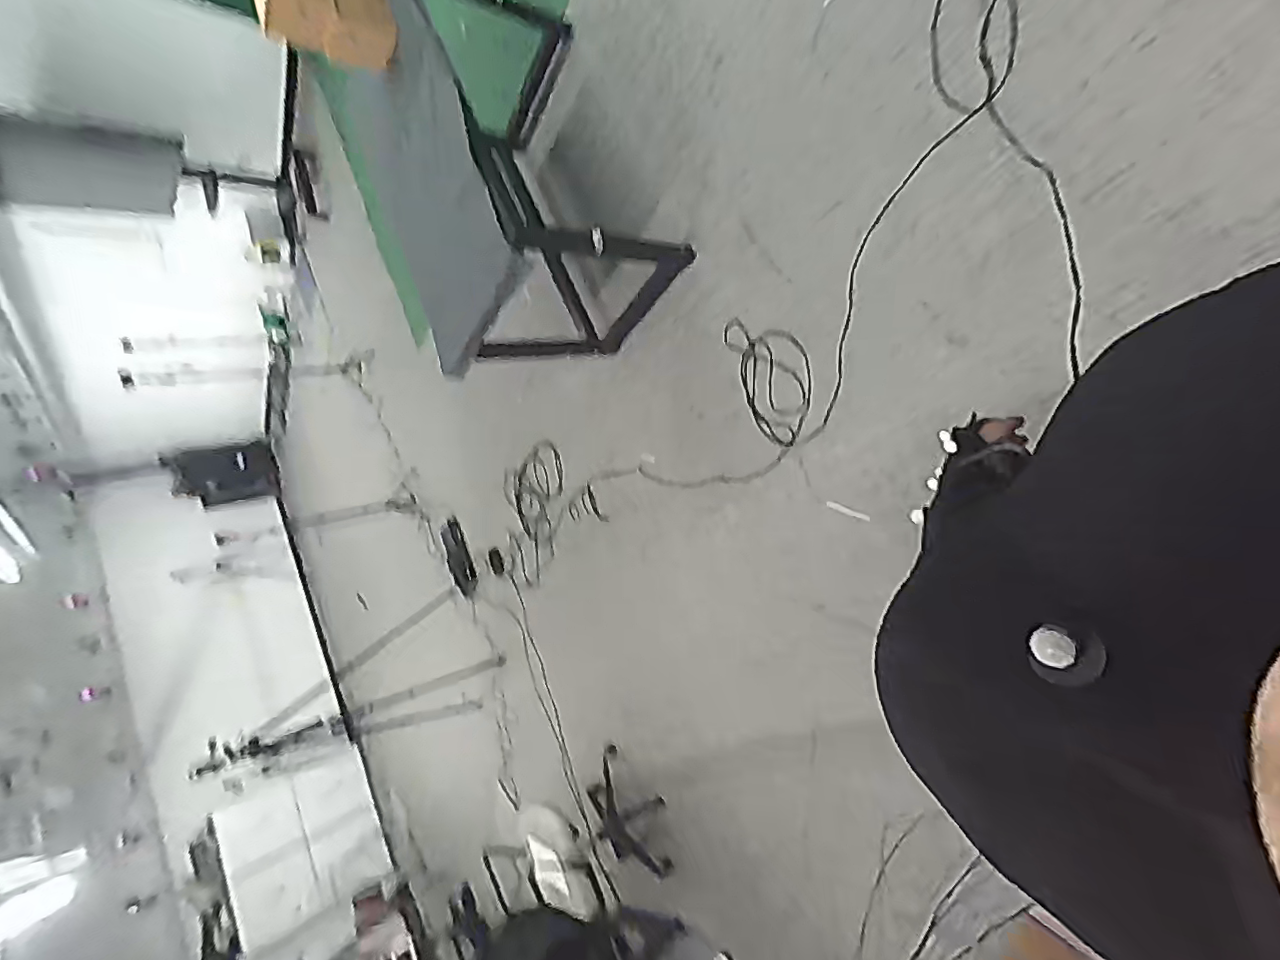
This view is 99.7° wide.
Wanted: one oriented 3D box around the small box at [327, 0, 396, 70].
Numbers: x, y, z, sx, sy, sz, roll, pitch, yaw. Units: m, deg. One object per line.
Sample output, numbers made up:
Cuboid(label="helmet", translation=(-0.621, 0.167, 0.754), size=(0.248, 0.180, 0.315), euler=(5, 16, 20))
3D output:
Cuboid(label="small box", translation=(-0.863, -1.408, 1.651), size=(0.179, 0.176, 0.168), euler=(-7, 96, 51))

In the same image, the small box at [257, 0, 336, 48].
Cuboid(label="small box", translation=(-0.986, -1.397, 1.544), size=(0.179, 0.176, 0.168), euler=(-15, 89, 52))
